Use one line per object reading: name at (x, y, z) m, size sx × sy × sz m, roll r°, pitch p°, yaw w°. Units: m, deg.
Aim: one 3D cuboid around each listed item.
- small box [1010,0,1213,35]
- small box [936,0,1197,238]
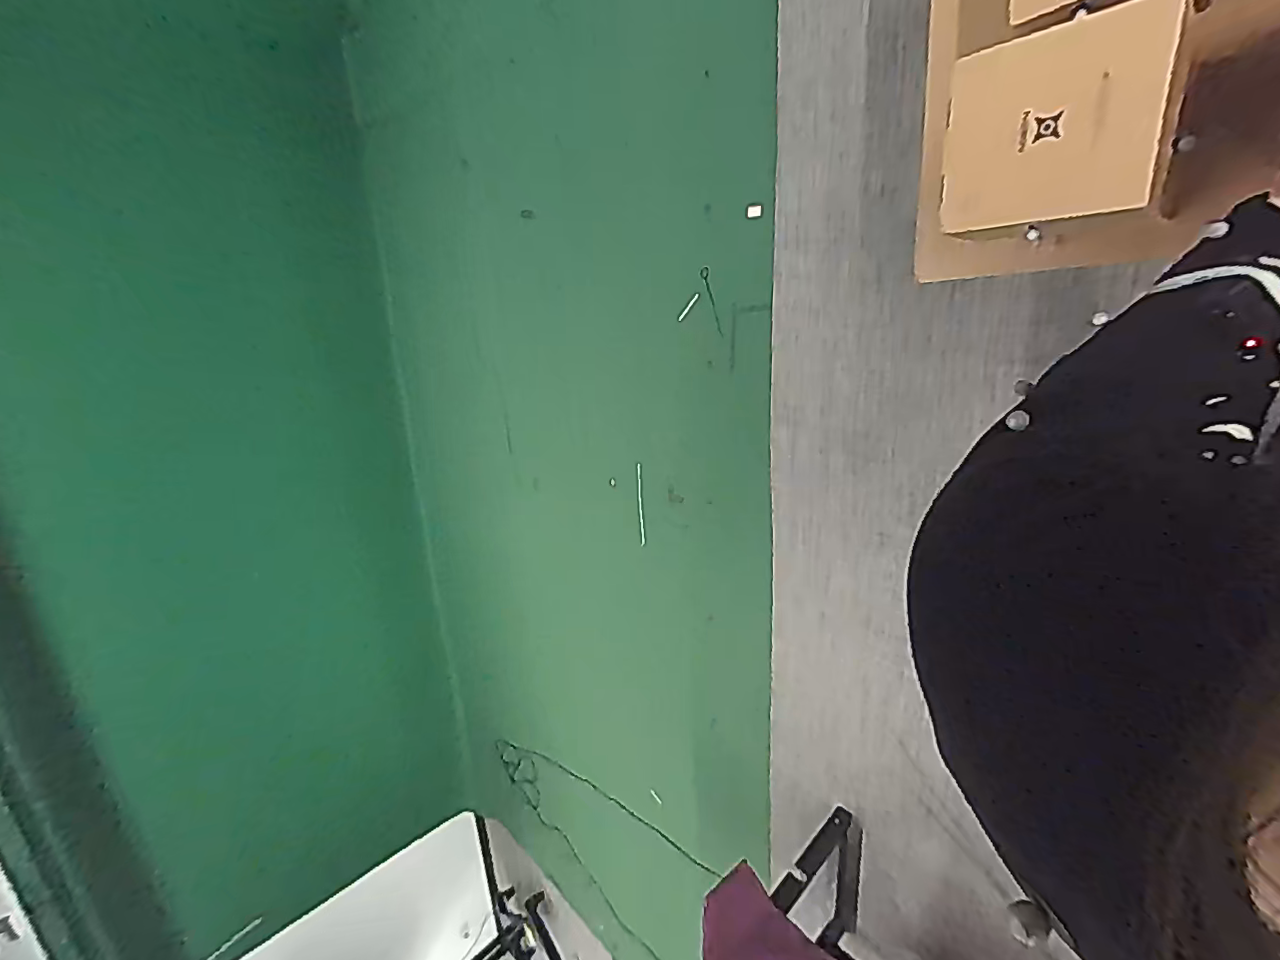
small box at (0.547, -0.625, 0.613) m, size 0.168 × 0.176 × 0.179 m, roll 12°, pitch 111°, yaw 47°
small box at (0.445, -0.357, 0.572) m, size 0.179 × 0.176 × 0.168 m, roll 15°, pitch 115°, yaw 44°
